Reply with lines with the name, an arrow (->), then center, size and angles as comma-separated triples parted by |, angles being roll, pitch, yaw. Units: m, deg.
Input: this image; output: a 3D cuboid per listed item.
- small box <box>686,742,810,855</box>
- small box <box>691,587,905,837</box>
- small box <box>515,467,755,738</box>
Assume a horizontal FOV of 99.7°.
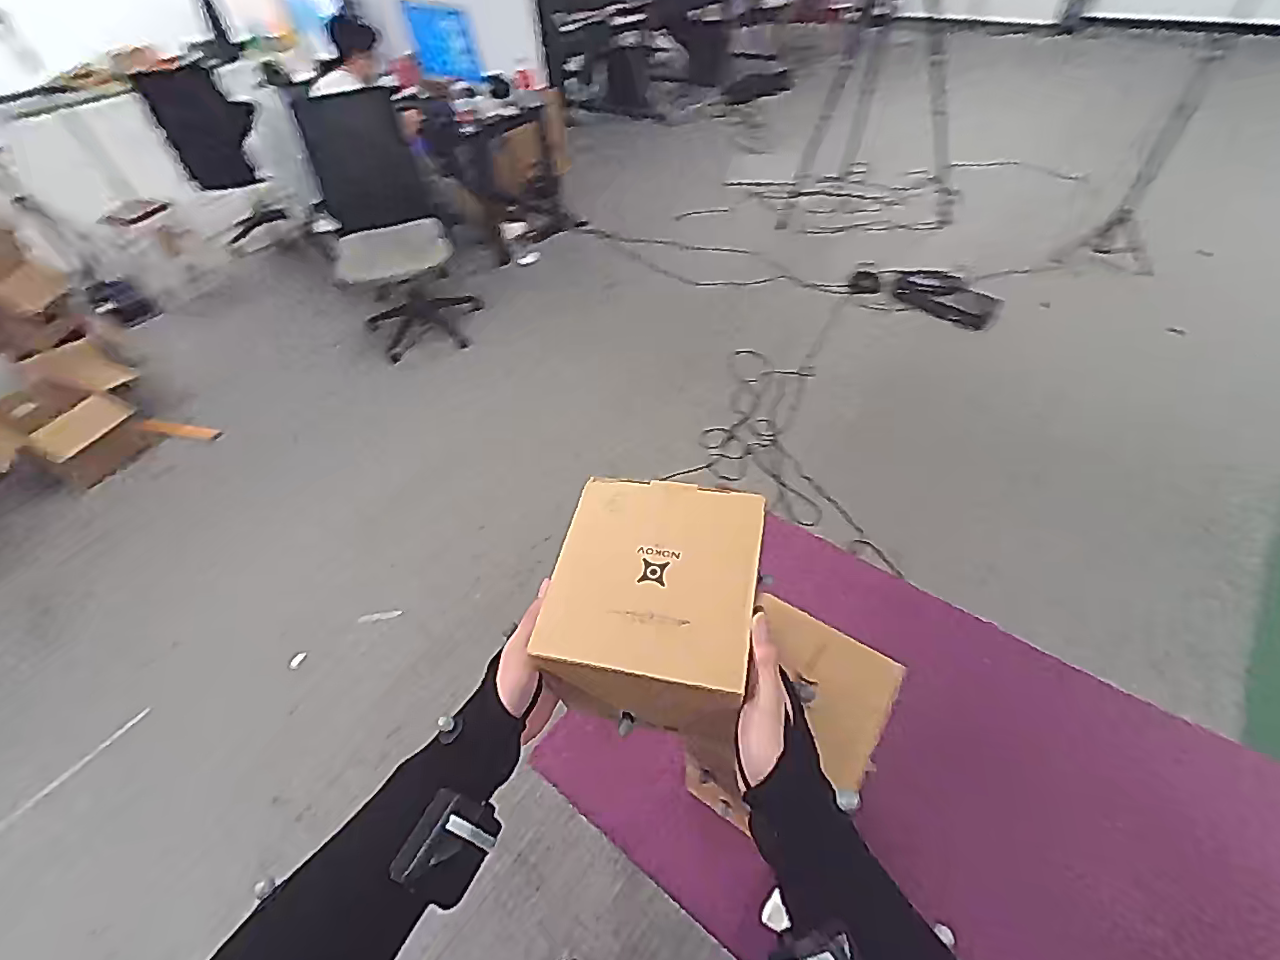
small box -> 0.179, 0.371, 0.738 | 0.168, 0.176, 0.179 | 26, 56, 25
small box -> 0.167, 0.264, 0.613 | 0.168, 0.176, 0.179 | 27, 56, 25
small box -> 0.010, 0.114, 0.498 | 0.168, 0.176, 0.179 | 6, 54, 13
